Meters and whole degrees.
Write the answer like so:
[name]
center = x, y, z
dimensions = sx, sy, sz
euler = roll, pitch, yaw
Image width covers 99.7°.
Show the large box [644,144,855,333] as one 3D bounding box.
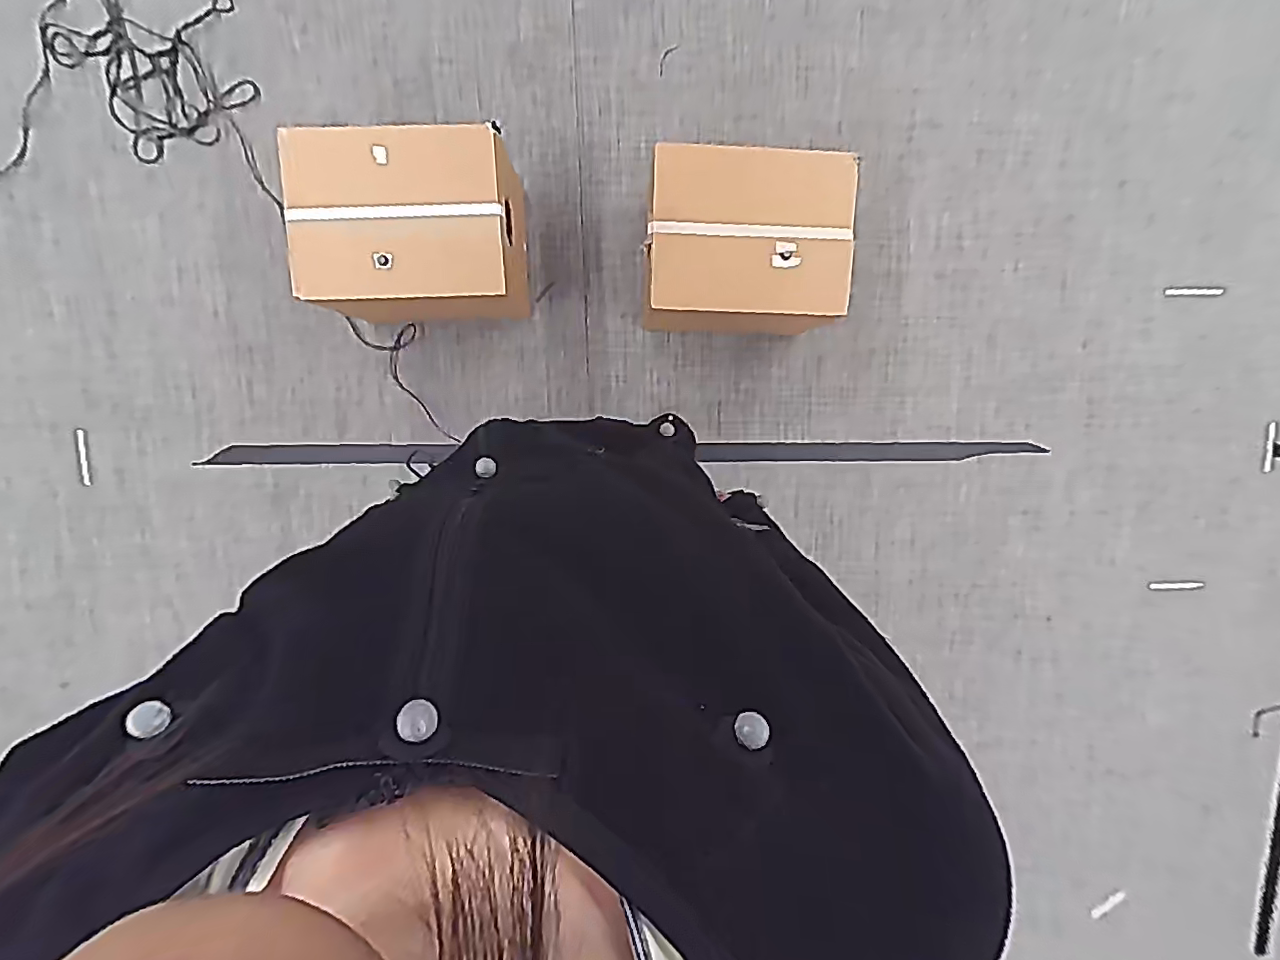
[large box]
center = 0.217, -0.515, 1.226
dimensions = 0.408, 0.320, 0.320
euler = 2, 98, -4
